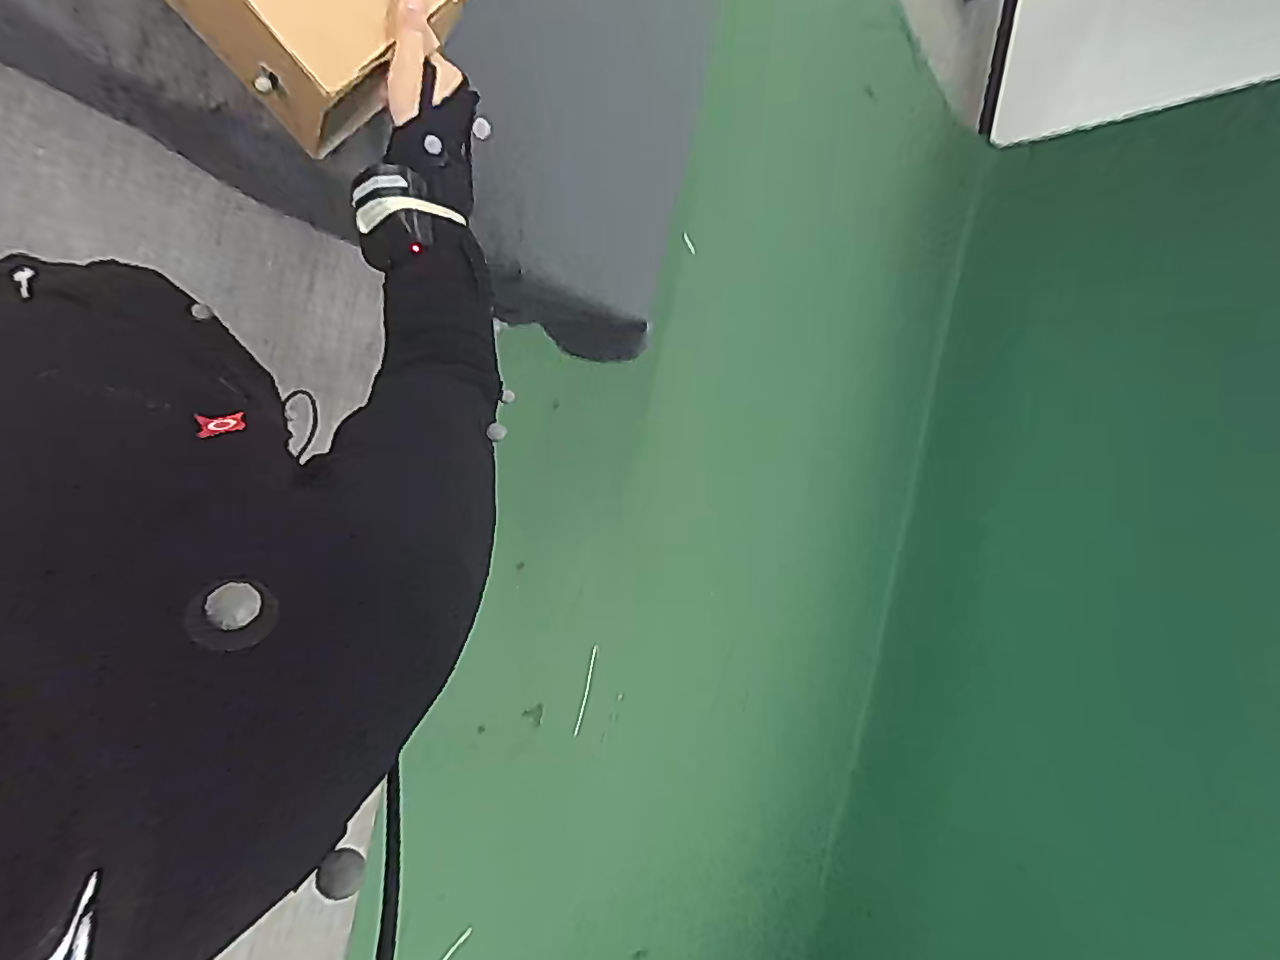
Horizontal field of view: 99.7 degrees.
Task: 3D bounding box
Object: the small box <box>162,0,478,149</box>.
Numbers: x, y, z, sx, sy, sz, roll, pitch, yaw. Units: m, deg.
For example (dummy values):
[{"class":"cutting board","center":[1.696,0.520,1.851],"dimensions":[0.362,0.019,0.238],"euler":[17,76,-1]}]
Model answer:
[{"class":"small box","center":[-0.269,-0.403,0.436],"dimensions":[0.168,0.176,0.179],"euler":[-51,123,-13]}]
